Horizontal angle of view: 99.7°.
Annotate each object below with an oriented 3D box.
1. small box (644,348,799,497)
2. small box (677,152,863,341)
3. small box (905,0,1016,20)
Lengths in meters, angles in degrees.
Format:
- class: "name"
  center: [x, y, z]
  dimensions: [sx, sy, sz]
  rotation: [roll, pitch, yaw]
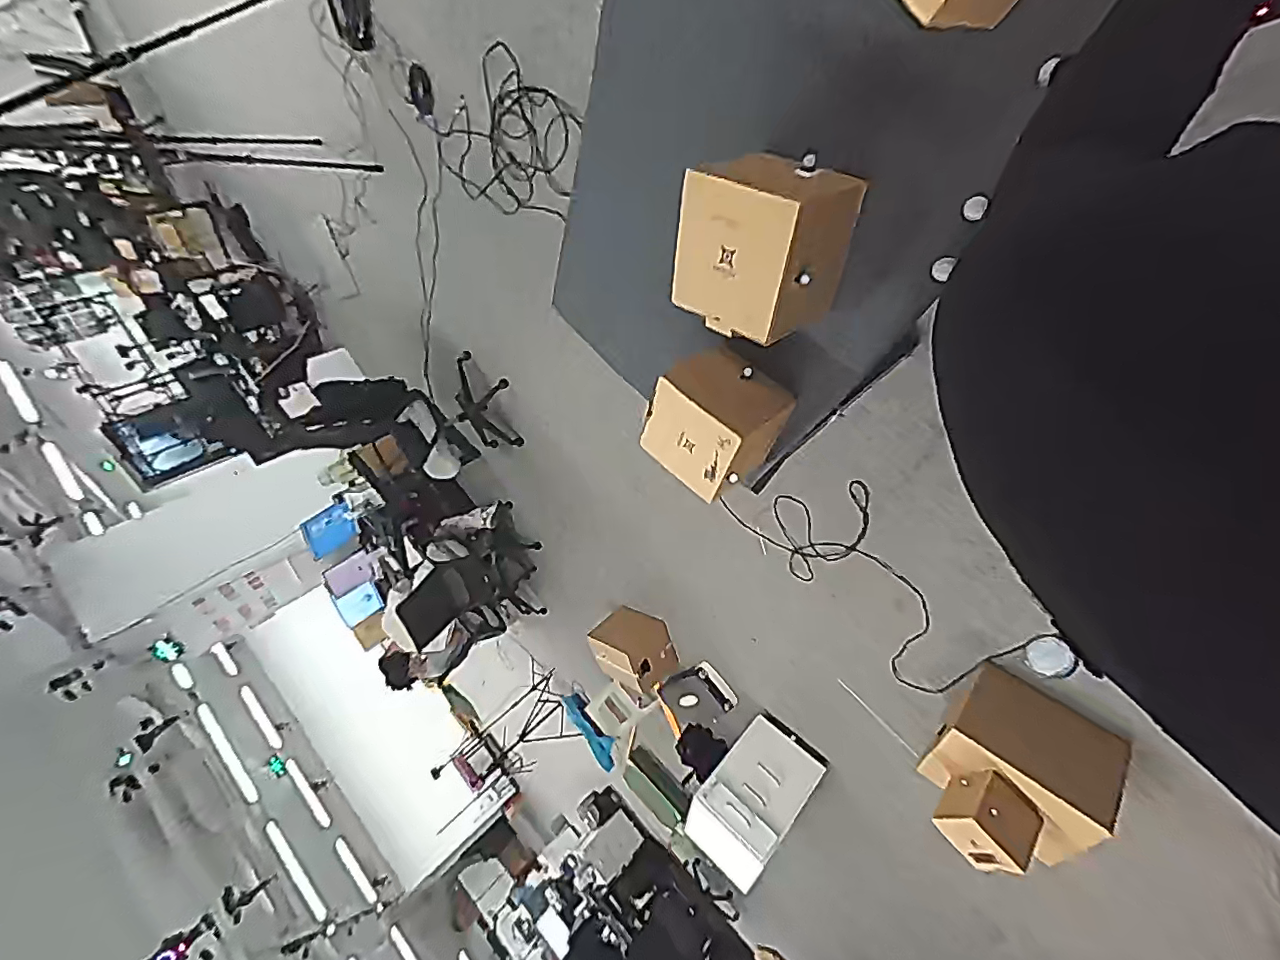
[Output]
- class: "small box"
  center: [0.139, -0.109, 0.945]
  dimensions: [0.179, 0.176, 0.168]
  rotation: [42, 143, 20]
- class: "small box"
  center: [0.172, -0.320, 0.730]
  dimensions: [0.168, 0.176, 0.179]
  rotation: [34, 139, 28]
- class: "small box"
  center: [0.278, -0.511, 0.428]
  dimensions: [0.179, 0.176, 0.168]
  rotation: [54, 147, 3]
